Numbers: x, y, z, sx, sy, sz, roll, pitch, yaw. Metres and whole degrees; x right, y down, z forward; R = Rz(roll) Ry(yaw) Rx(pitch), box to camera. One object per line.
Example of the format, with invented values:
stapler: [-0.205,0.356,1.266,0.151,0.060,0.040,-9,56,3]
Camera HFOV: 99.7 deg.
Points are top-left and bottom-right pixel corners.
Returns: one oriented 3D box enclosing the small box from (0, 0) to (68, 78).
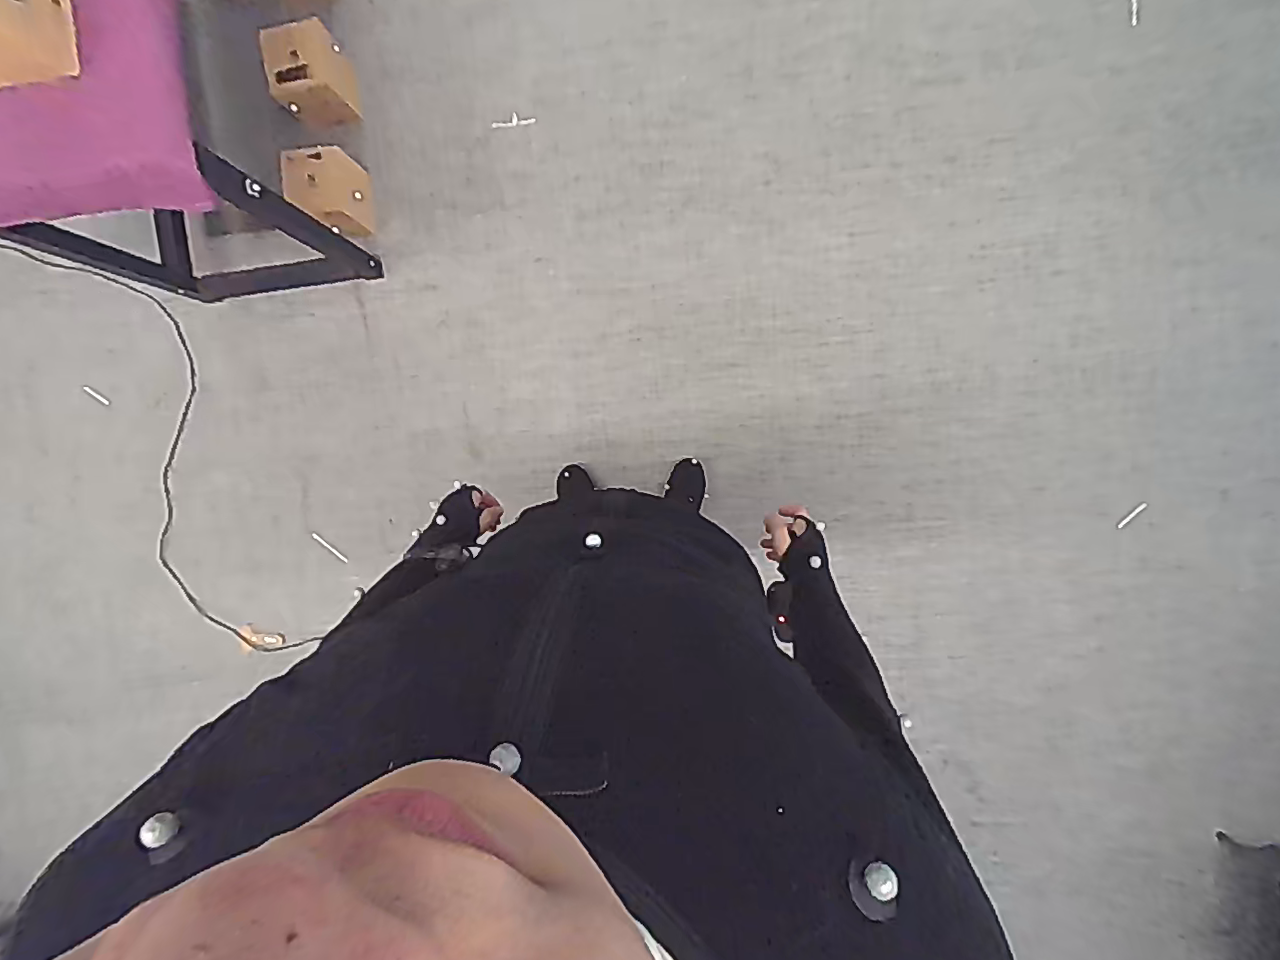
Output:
small box: [-1.034,-0.755,0.822,0.179,0.176,0.168,-5,94,4]

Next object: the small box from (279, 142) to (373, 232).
small box: [-0.883,-0.822,1.537,0.168,0.176,0.179,-3,94,4]
